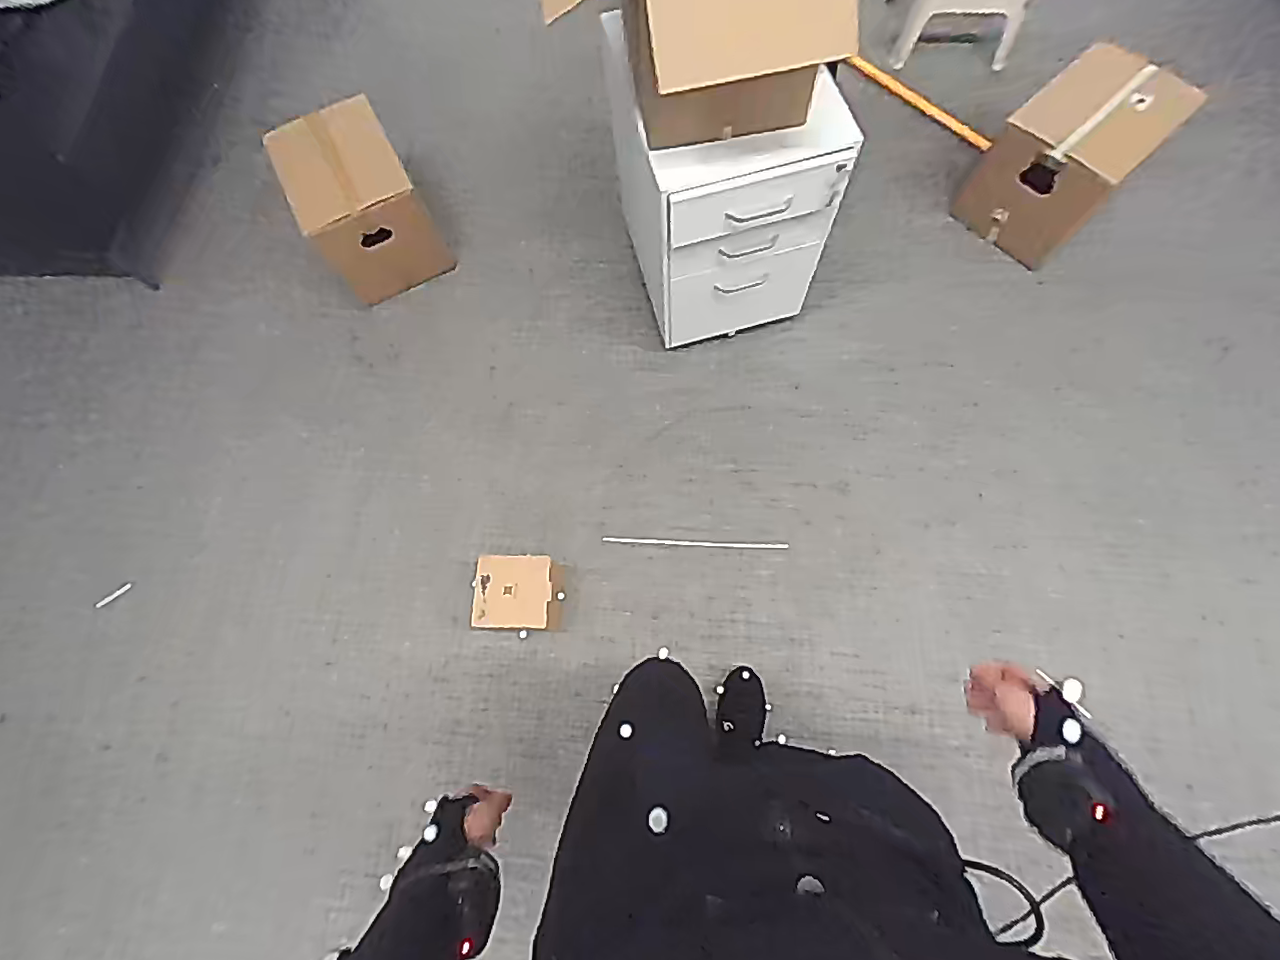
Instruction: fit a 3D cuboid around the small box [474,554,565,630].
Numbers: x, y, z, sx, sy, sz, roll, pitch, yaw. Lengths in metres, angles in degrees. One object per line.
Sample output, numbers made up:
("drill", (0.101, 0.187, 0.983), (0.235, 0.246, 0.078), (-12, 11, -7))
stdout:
("small box", (-0.285, 0.278, 1.325), (0.179, 0.176, 0.168), (1, 72, 4))
